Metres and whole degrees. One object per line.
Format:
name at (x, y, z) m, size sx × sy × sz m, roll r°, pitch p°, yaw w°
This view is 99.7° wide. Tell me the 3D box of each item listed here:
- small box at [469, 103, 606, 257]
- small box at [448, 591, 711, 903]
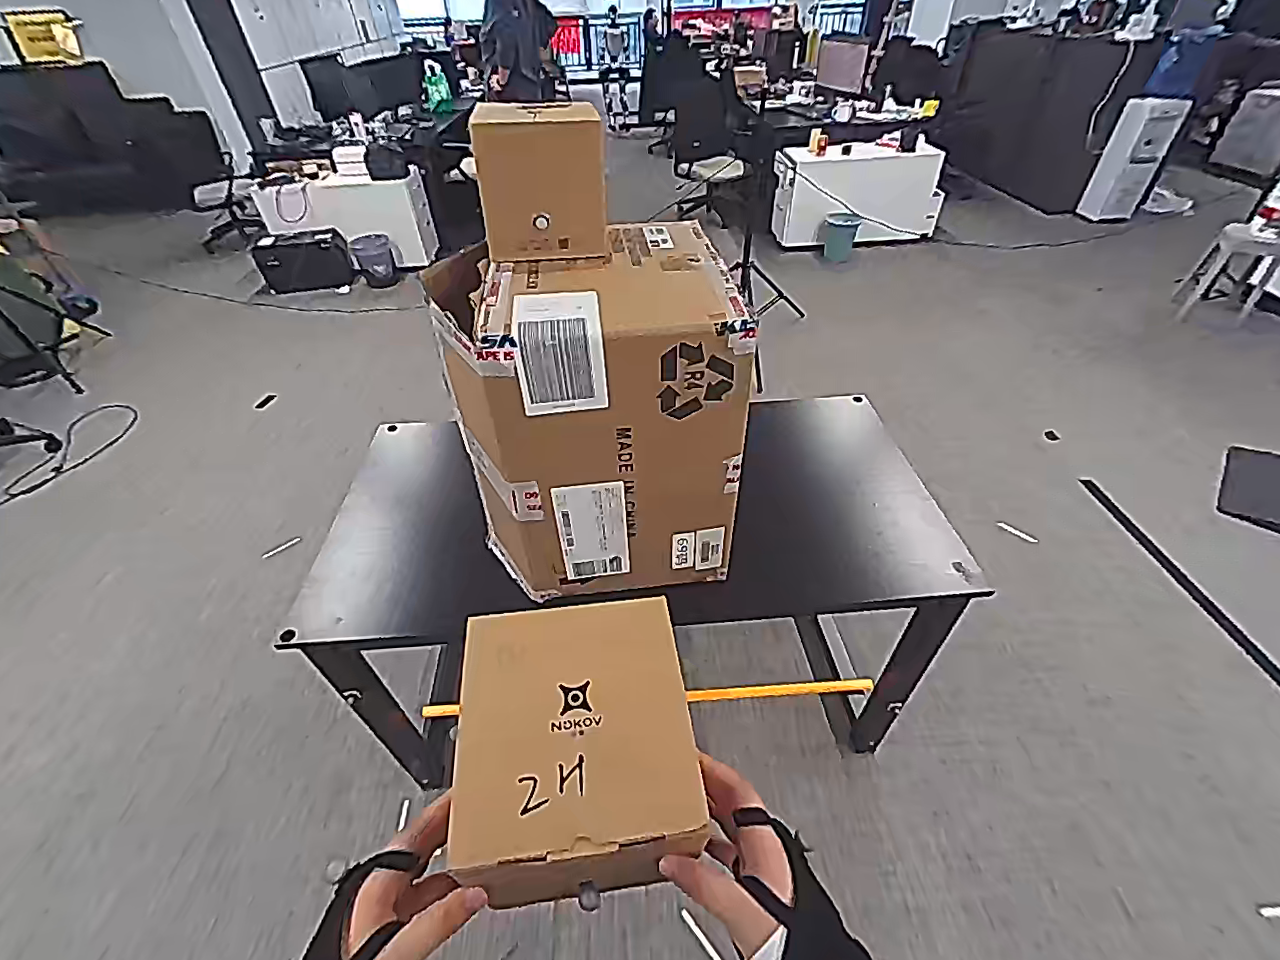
small box at (-0.140, -0.431, 0.776) m, size 0.168 × 0.176 × 0.179 m, roll -6°, pitch 41°, yaw -7°
small box at (-0.048, 0.218, 0.447) m, size 0.168 × 0.176 × 0.179 m, roll -5°, pitch 45°, yaw -6°
